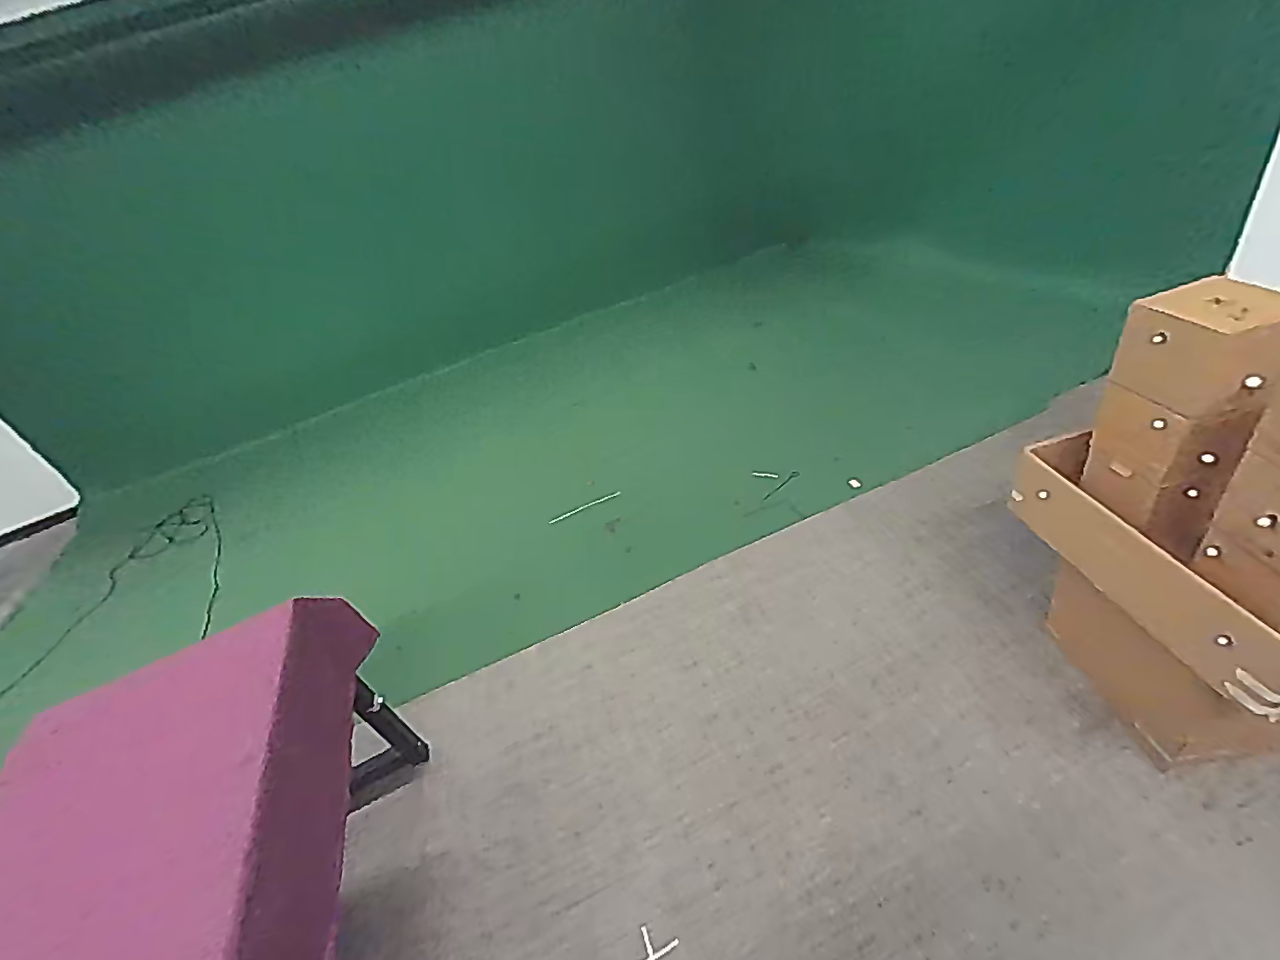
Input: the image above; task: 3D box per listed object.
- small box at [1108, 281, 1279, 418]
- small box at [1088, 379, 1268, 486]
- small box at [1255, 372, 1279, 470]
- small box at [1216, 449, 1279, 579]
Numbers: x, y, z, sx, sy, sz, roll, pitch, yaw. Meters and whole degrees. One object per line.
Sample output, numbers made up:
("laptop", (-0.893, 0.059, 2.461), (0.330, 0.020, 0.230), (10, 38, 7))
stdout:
("small box", (1.024, -0.240, 0.994), (0.168, 0.176, 0.179), (-18, 37, 1))
("small box", (1.066, -0.115, 1.095), (0.168, 0.176, 0.179), (-17, 38, 1))
("small box", (1.055, -0.079, 0.770), (0.179, 0.176, 0.168), (-11, 37, 7))
("small box", (1.095, 0.048, 0.866), (0.179, 0.176, 0.168), (-13, 37, 7))
